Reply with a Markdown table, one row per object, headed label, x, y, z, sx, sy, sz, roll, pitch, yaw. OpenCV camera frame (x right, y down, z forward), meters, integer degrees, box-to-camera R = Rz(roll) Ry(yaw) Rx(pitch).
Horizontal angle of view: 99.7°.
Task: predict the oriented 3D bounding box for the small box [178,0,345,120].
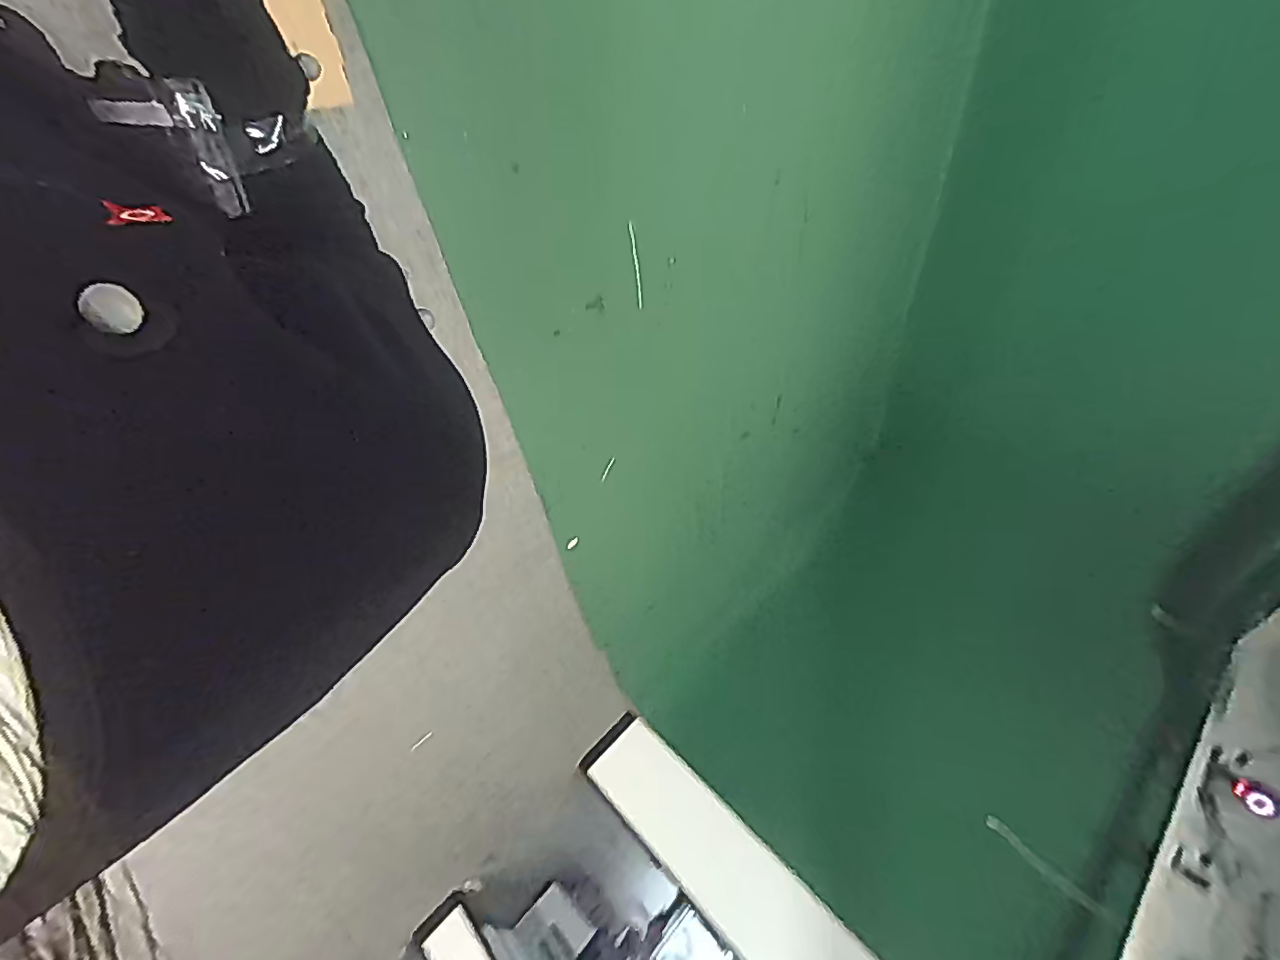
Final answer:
| label | x | y | z | sx | sy | sz | roll | pitch | yaw |
| --- | --- | --- | --- | --- | --- | --- | --- | --- | --- |
| small box | -0.678 | -0.762 | 0.974 | 0.179 | 0.176 | 0.168 | -33 | 137 | -30 |
